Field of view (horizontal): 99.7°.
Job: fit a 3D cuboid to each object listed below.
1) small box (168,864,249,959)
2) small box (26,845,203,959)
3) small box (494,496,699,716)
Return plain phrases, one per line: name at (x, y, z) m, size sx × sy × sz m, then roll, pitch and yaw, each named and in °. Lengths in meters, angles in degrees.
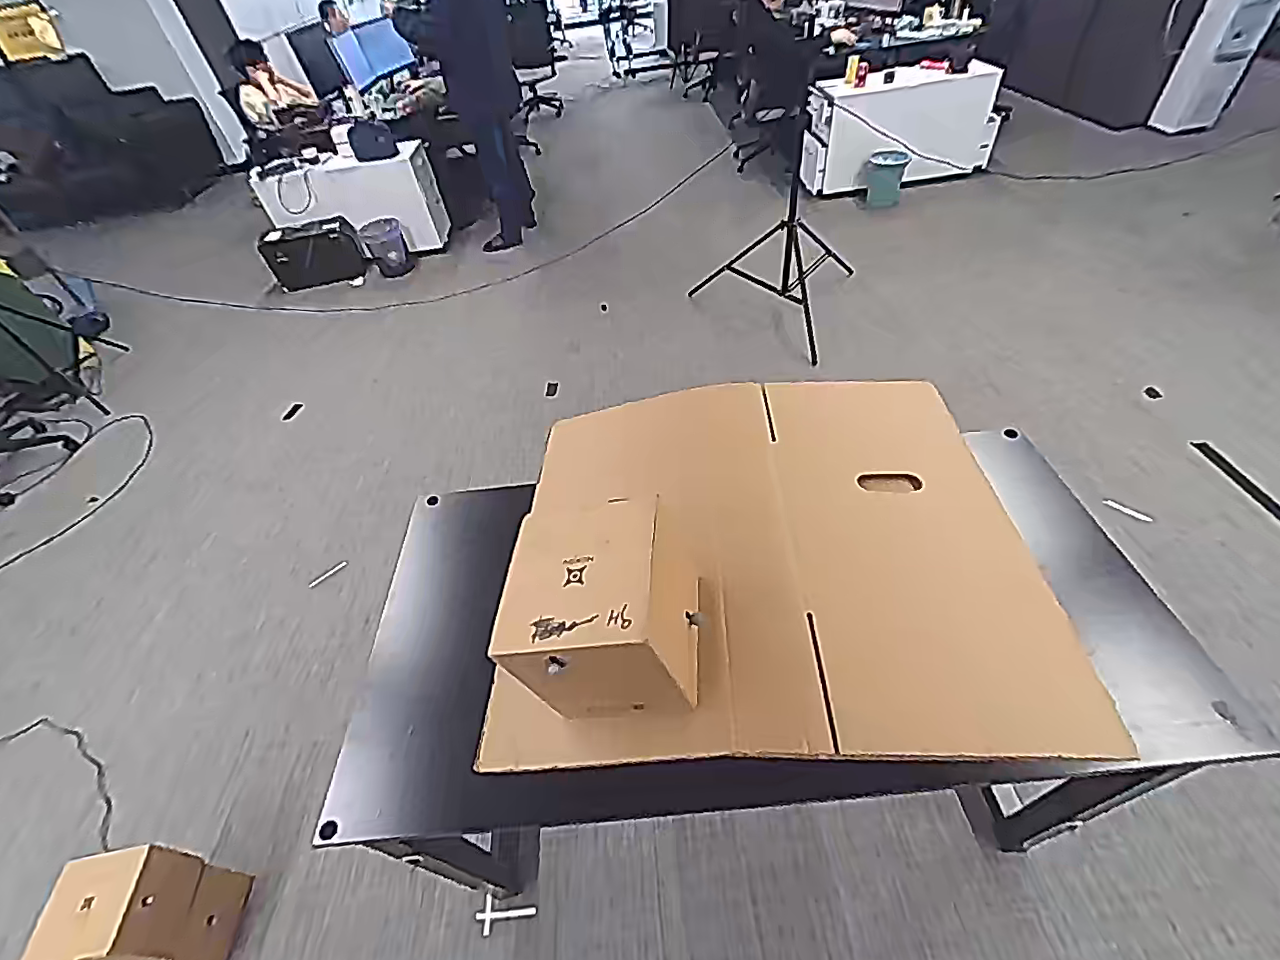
small box at (-1.015, 0.981, 1.196) m, size 0.168 × 0.176 × 0.179 m, roll -10°, pitch 47°, yaw -1°
small box at (-1.034, 0.866, 1.083) m, size 0.168 × 0.176 × 0.179 m, roll -11°, pitch 45°, yaw -4°
small box at (-0.034, 0.146, 0.614) m, size 0.168 × 0.176 × 0.179 m, roll -11°, pitch 45°, yaw 17°
